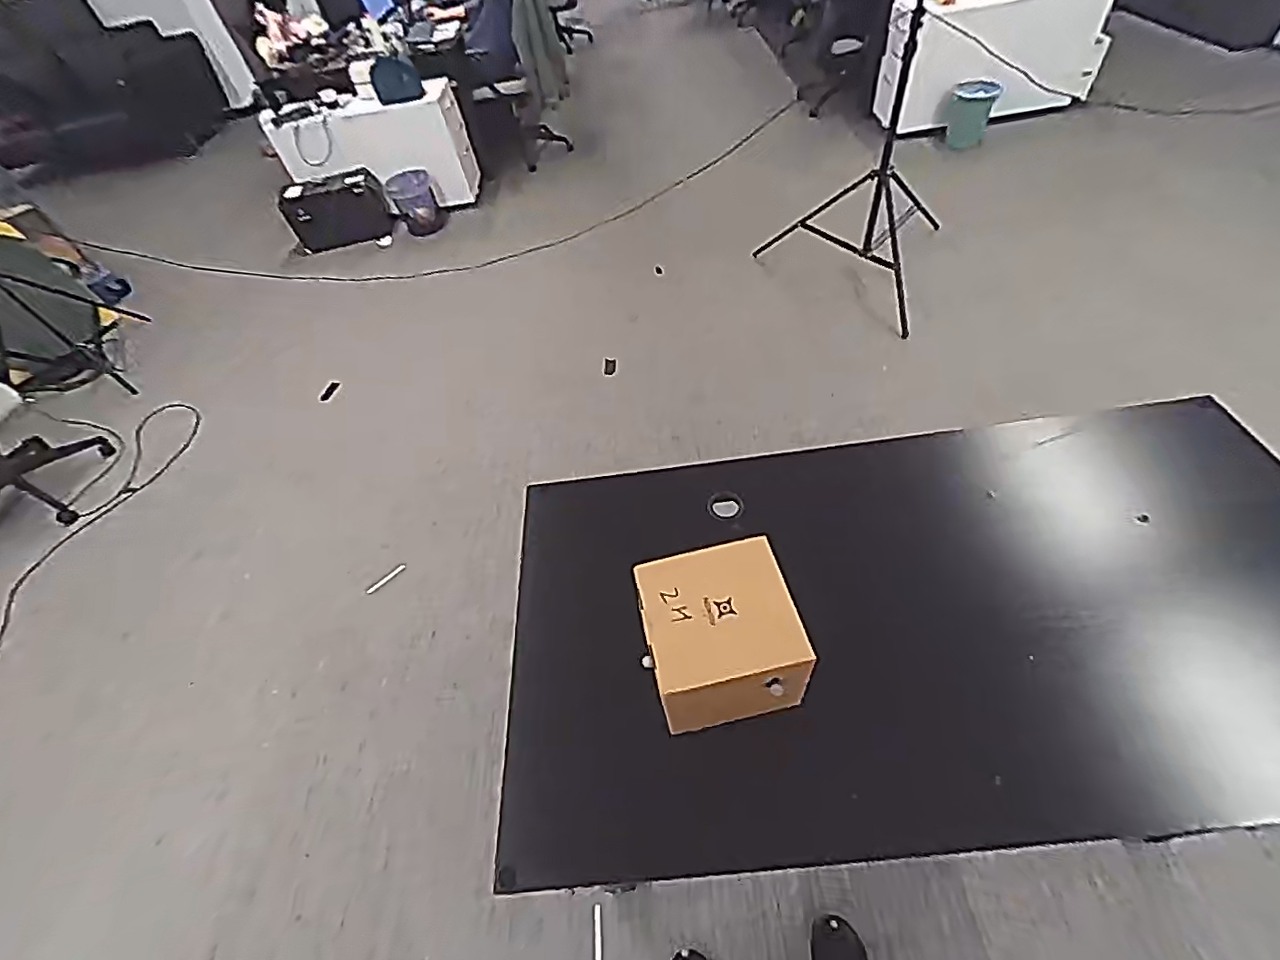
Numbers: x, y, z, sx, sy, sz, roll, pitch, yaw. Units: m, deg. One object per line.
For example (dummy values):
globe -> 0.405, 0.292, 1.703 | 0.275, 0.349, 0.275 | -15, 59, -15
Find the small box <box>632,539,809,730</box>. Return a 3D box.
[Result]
small box -> 0.097, 0.203, 0.701 | 0.179, 0.176, 0.168 | -13, 51, -1
